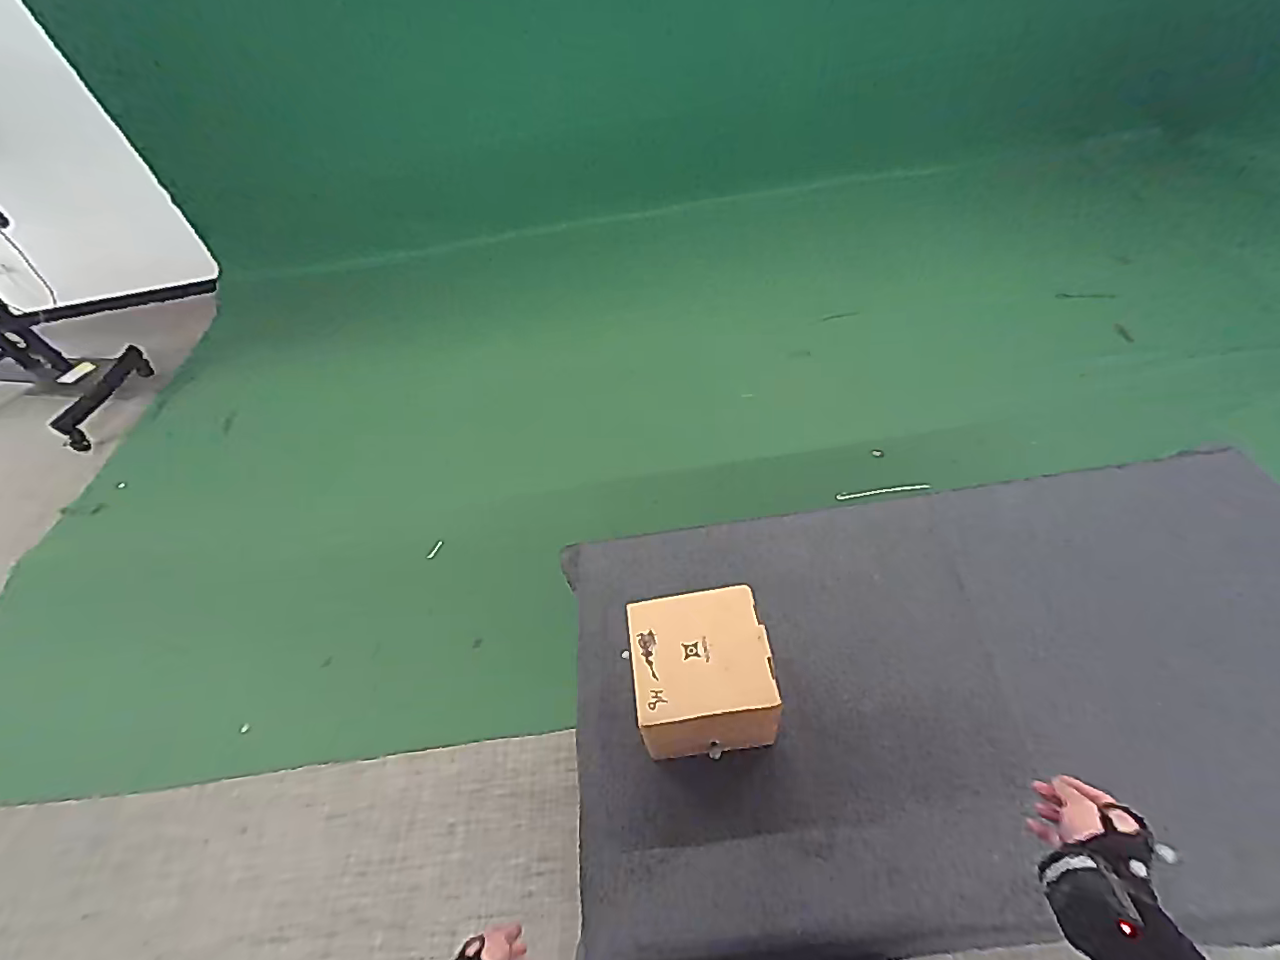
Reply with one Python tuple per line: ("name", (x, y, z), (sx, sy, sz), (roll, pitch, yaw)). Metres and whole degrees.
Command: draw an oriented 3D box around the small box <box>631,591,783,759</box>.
("small box", (0.087, 0.277, 0.761), (0.179, 0.176, 0.168), (-9, 49, 1))
